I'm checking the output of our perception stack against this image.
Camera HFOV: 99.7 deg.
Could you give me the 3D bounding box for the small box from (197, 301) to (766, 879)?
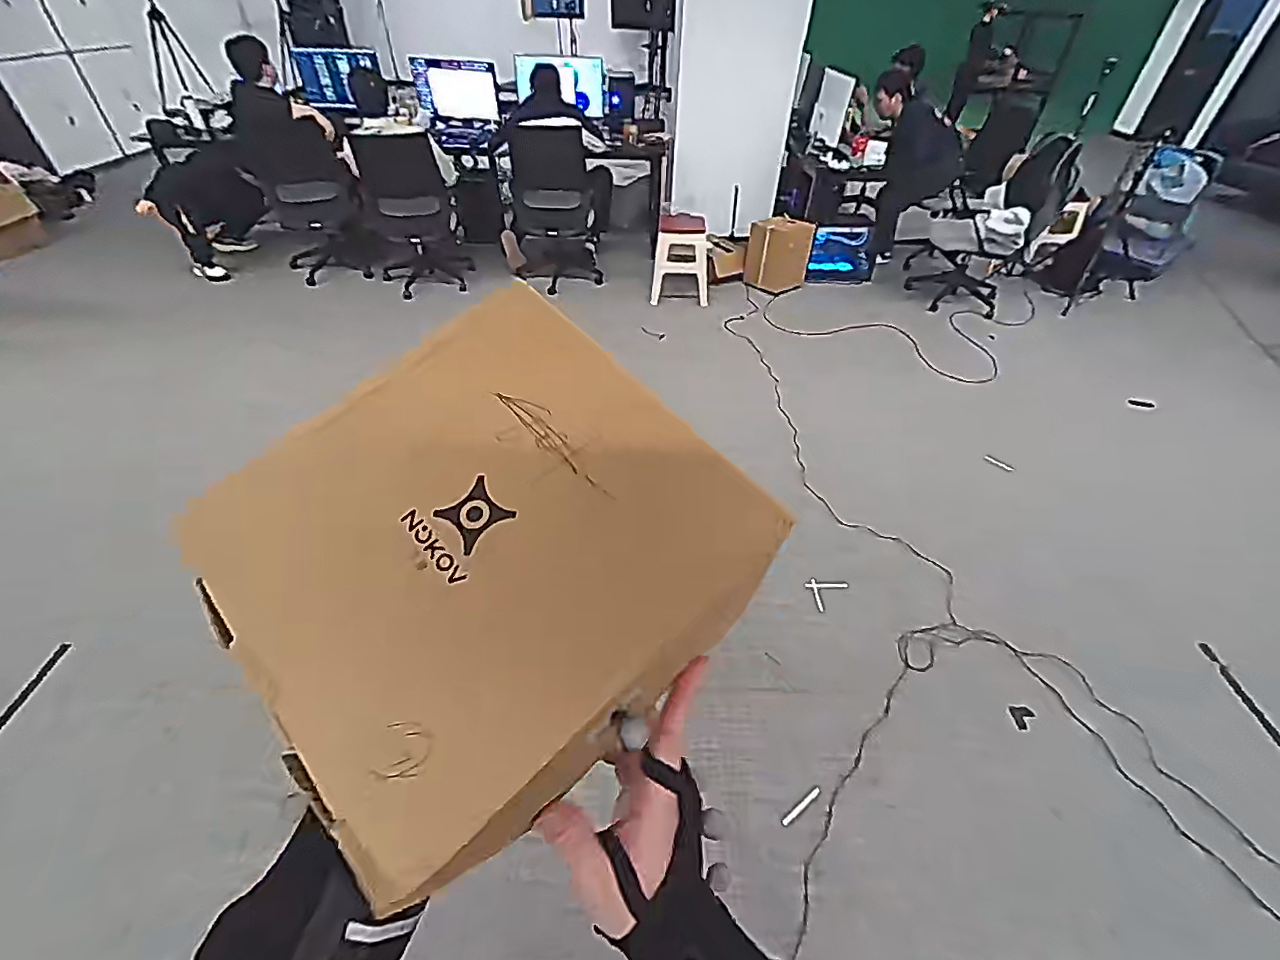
[{"bbox_3d":[-0.060,0.053,0.287,0.179,0.176,0.168,-42,70,-15],"label":"small box"}]
